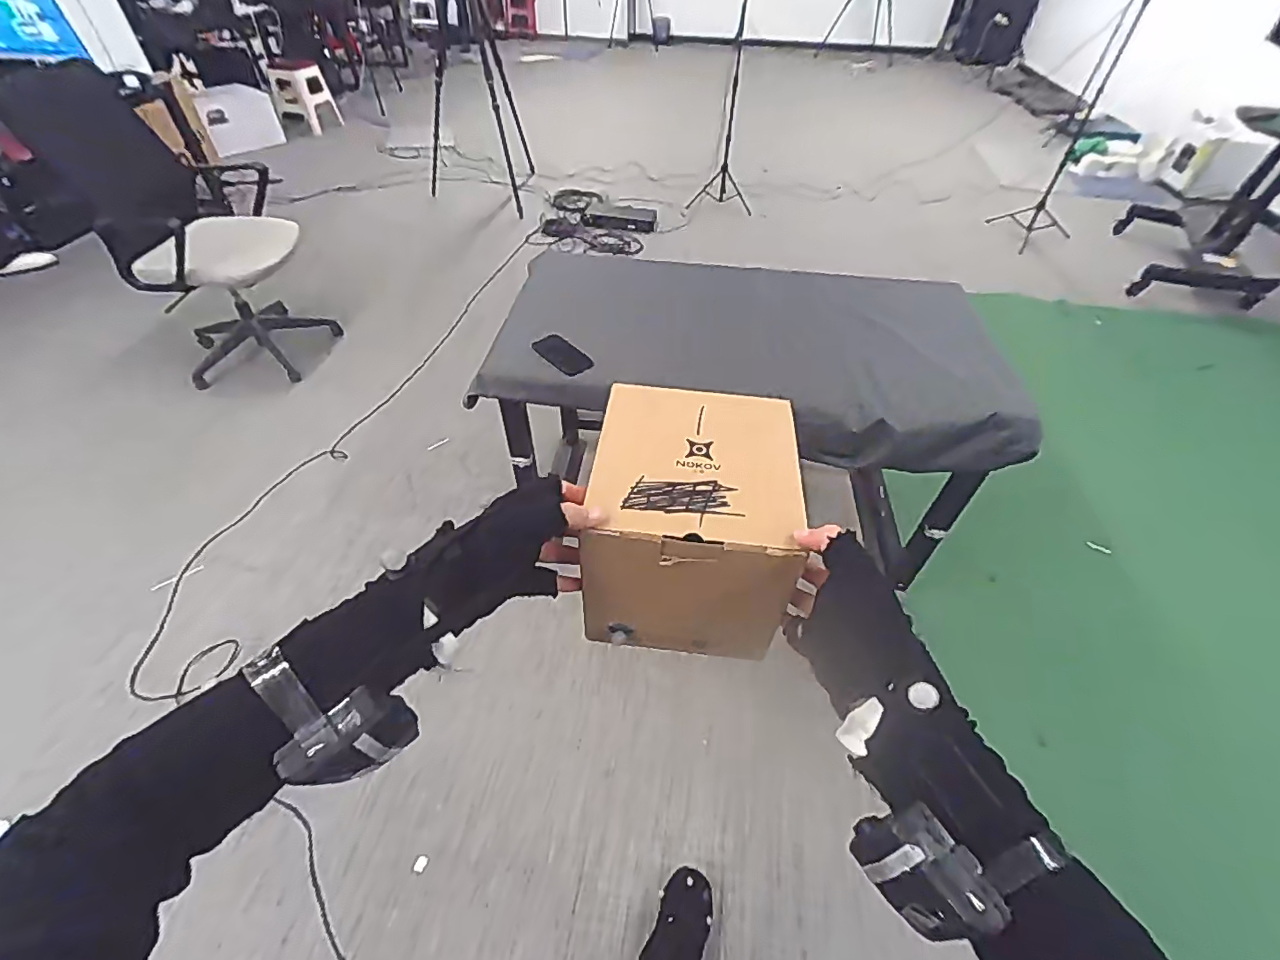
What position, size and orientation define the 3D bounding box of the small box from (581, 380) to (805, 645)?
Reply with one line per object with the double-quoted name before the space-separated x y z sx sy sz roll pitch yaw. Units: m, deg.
"small box" 0.045 0.032 0.502 0.168 0.176 0.179 6 46 2
